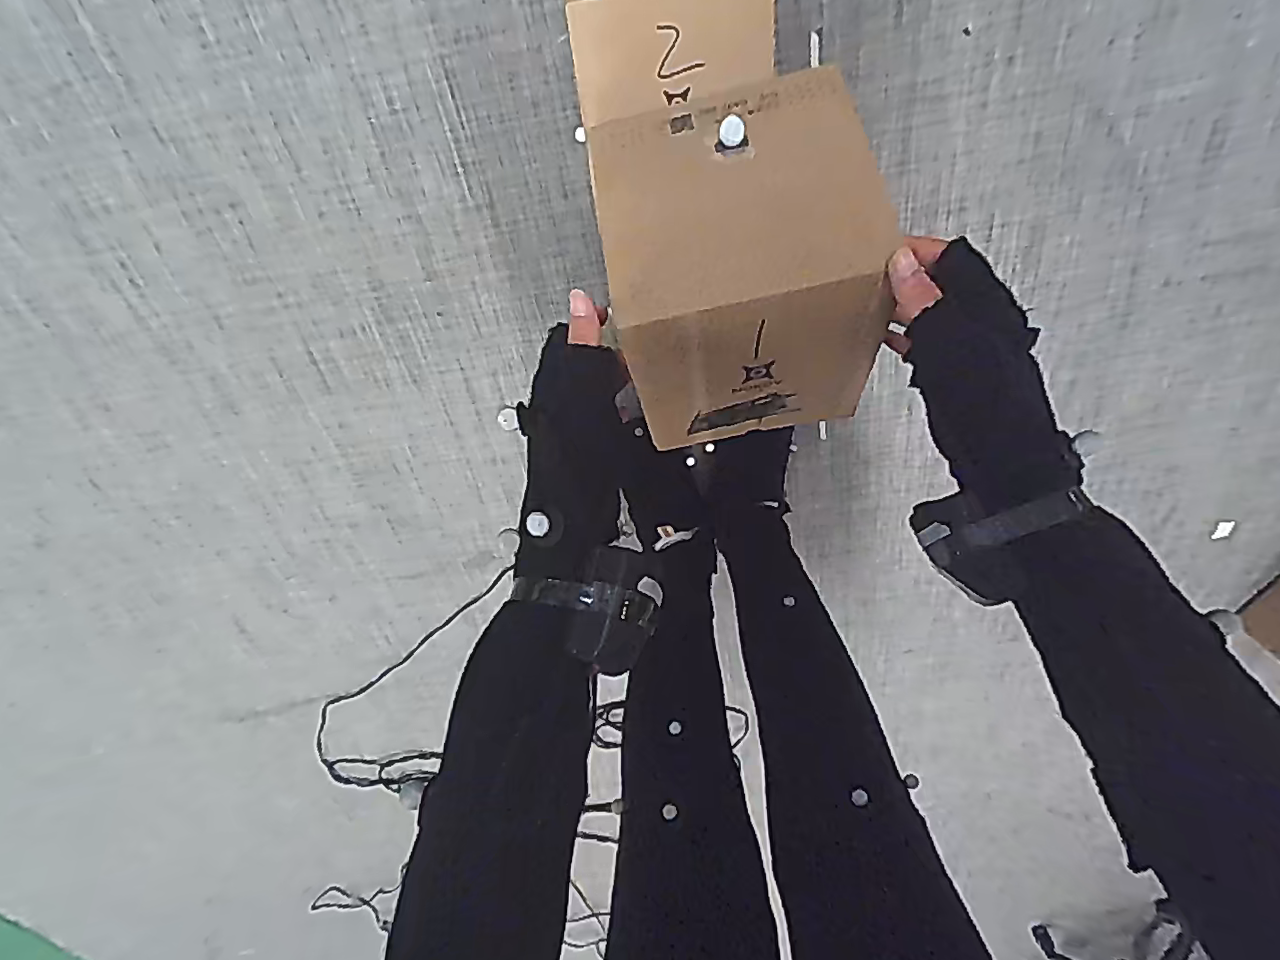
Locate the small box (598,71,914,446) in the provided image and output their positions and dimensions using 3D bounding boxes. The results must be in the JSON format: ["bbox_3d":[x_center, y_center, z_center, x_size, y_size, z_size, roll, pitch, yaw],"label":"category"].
[{"bbox_3d":[0.071,-0.146,0.401,0.168,0.176,0.179,-10,158,7],"label":"small box"}]
